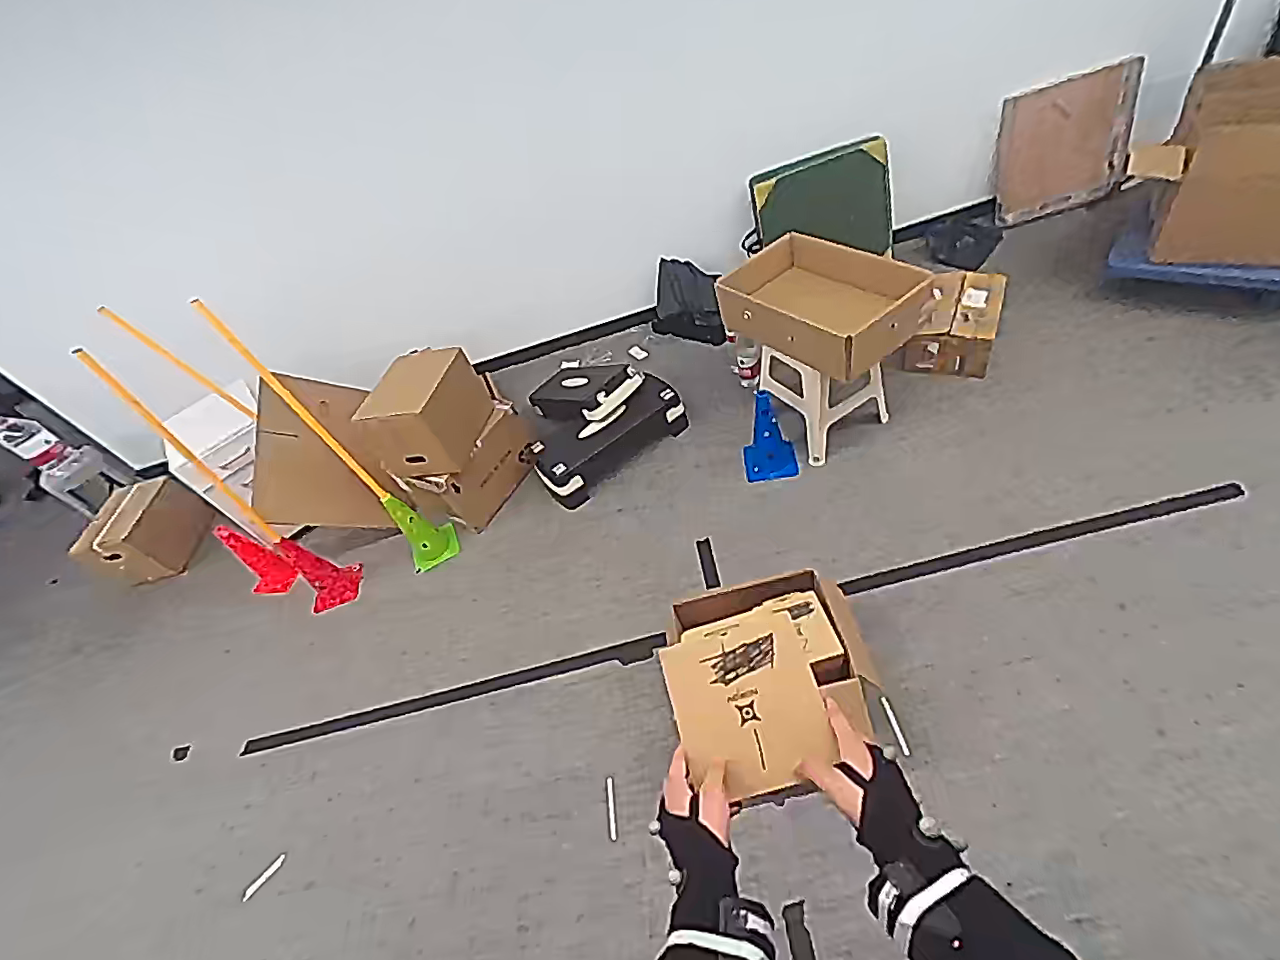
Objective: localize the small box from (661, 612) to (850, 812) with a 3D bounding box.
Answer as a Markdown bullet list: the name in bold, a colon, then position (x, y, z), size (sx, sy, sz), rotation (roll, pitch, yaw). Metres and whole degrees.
- **small box**: position (0.139, 0.288, 0.666), size (0.168, 0.176, 0.179), rotation (-20, 59, 7)
